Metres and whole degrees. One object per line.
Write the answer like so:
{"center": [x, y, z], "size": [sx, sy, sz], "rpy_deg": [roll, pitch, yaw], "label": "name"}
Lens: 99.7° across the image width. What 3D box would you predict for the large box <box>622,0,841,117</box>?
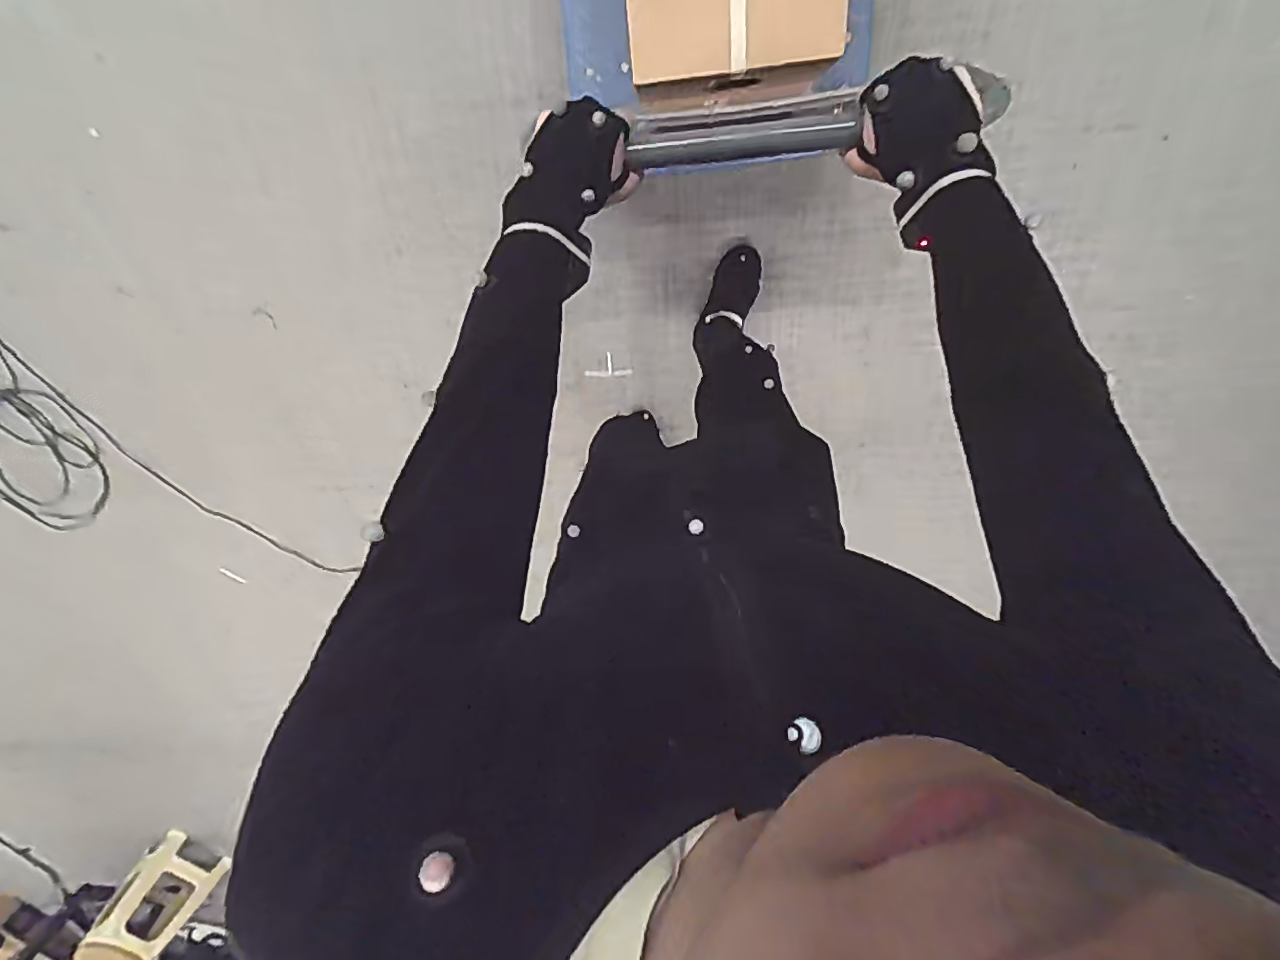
{"center": [0.133, -0.861, 0.866], "size": [0.320, 0.320, 0.408], "rpy_deg": [-3, 116, 7], "label": "large box"}
